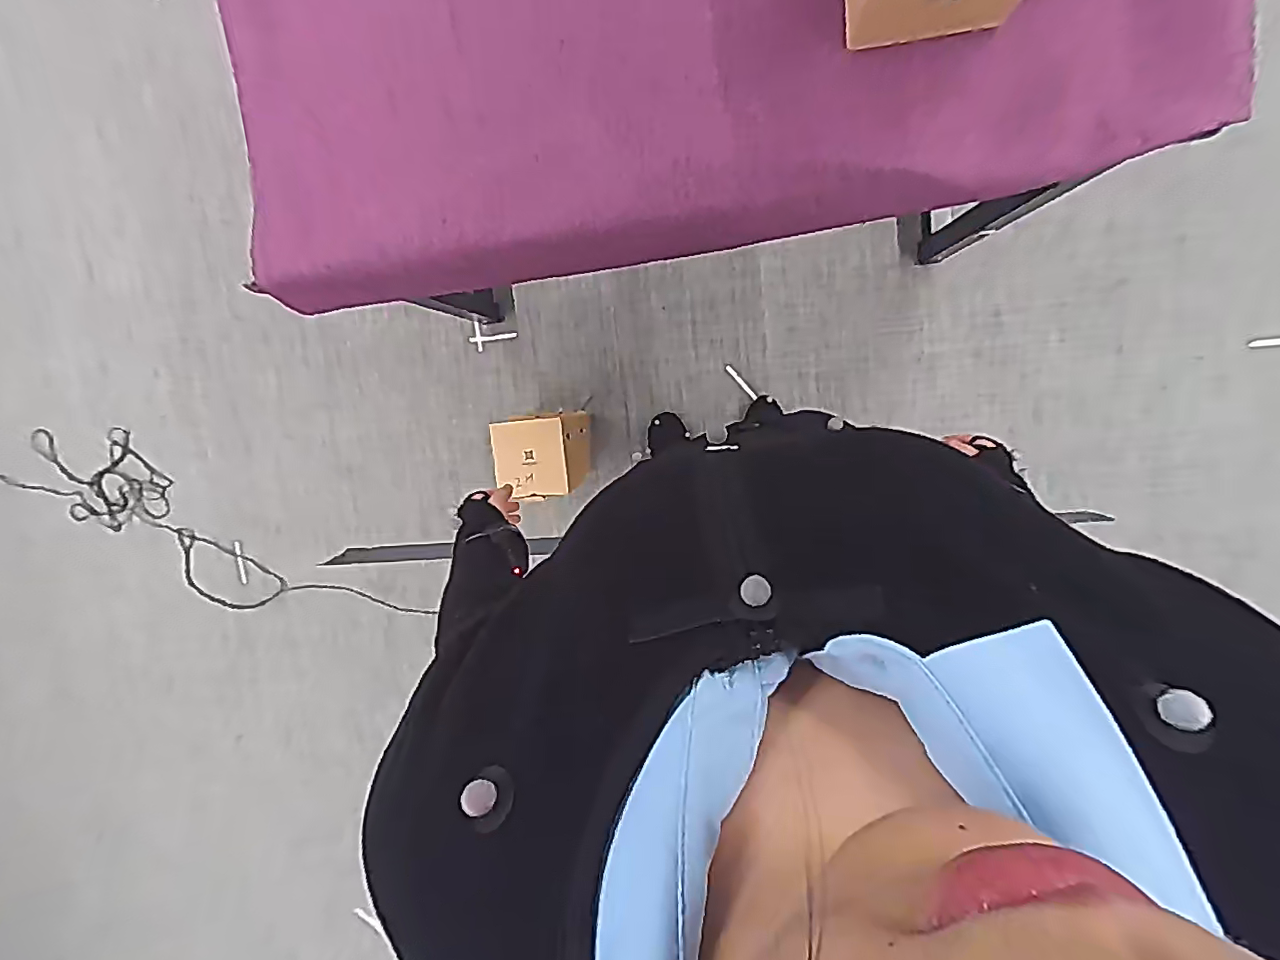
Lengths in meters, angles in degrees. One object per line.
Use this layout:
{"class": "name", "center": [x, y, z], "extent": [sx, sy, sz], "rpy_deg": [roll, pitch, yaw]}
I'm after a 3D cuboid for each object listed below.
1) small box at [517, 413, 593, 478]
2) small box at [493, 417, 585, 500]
{"class": "small box", "center": [-0.222, -0.087, 1.442], "extent": [0.168, 0.176, 0.179], "rpy_deg": [1, 99, 6]}
{"class": "small box", "center": [-0.232, -0.058, 1.280], "extent": [0.168, 0.176, 0.179], "rpy_deg": [-4, 99, 7]}
